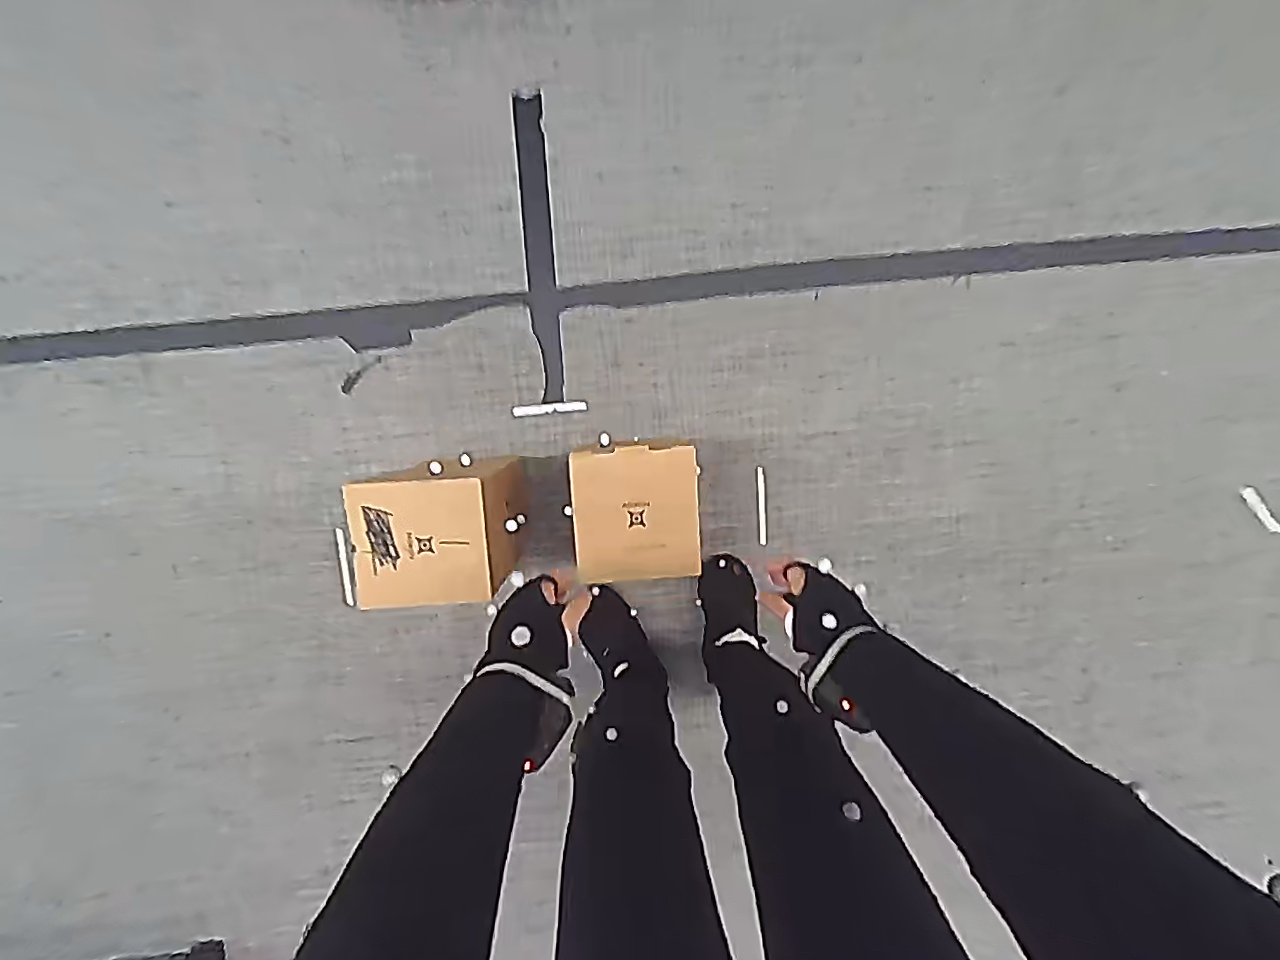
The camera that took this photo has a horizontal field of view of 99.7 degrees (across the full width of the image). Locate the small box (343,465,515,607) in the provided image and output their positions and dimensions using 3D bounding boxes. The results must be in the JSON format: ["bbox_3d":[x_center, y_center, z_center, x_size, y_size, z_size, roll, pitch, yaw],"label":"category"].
[{"bbox_3d":[-0.286,0.070,0.769,0.179,0.176,0.168,-3,98,-2],"label":"small box"}]

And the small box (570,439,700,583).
[{"bbox_3d":[-0.008,0.034,0.778,0.168,0.176,0.179,-4,99,-1],"label":"small box"}]

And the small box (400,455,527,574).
[{"bbox_3d":[-0.294,0.055,0.933,0.168,0.176,0.179,-2,99,-1],"label":"small box"}]
